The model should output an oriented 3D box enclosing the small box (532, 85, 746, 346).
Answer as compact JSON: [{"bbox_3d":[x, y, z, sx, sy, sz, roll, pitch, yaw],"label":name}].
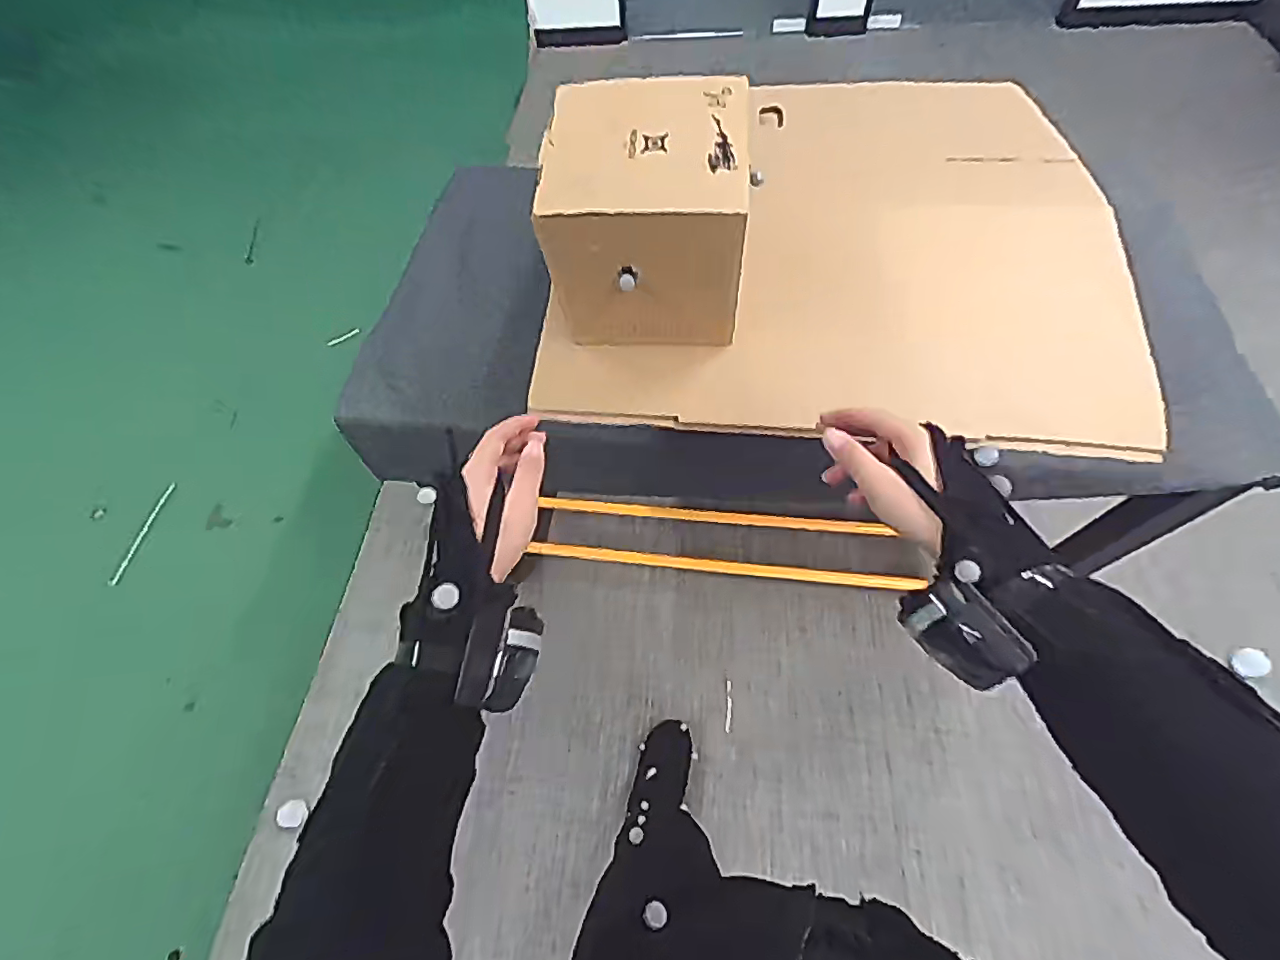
[{"bbox_3d":[0.012,-0.248,0.536,0.179,0.176,0.168,2,68,7],"label":"small box"}]
